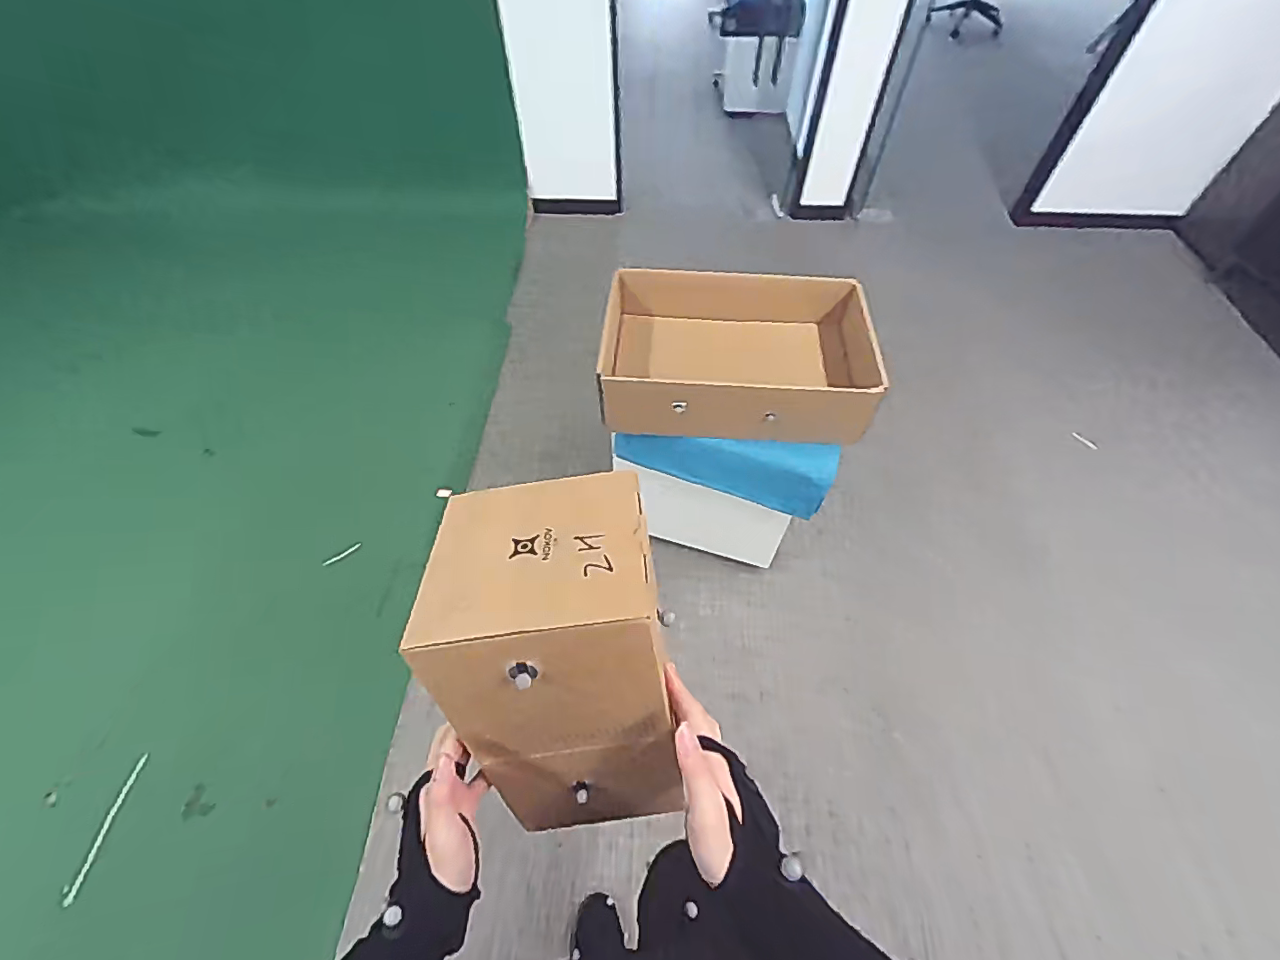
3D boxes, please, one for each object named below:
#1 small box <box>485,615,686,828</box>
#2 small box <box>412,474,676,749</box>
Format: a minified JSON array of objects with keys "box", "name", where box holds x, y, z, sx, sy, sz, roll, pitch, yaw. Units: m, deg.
[{"box":[-0.046,0.247,0.582,0.179,0.176,0.168,-8,37,1],"name":"small box"},{"box":[-0.067,0.118,0.482,0.179,0.176,0.168,-7,38,2],"name":"small box"}]
